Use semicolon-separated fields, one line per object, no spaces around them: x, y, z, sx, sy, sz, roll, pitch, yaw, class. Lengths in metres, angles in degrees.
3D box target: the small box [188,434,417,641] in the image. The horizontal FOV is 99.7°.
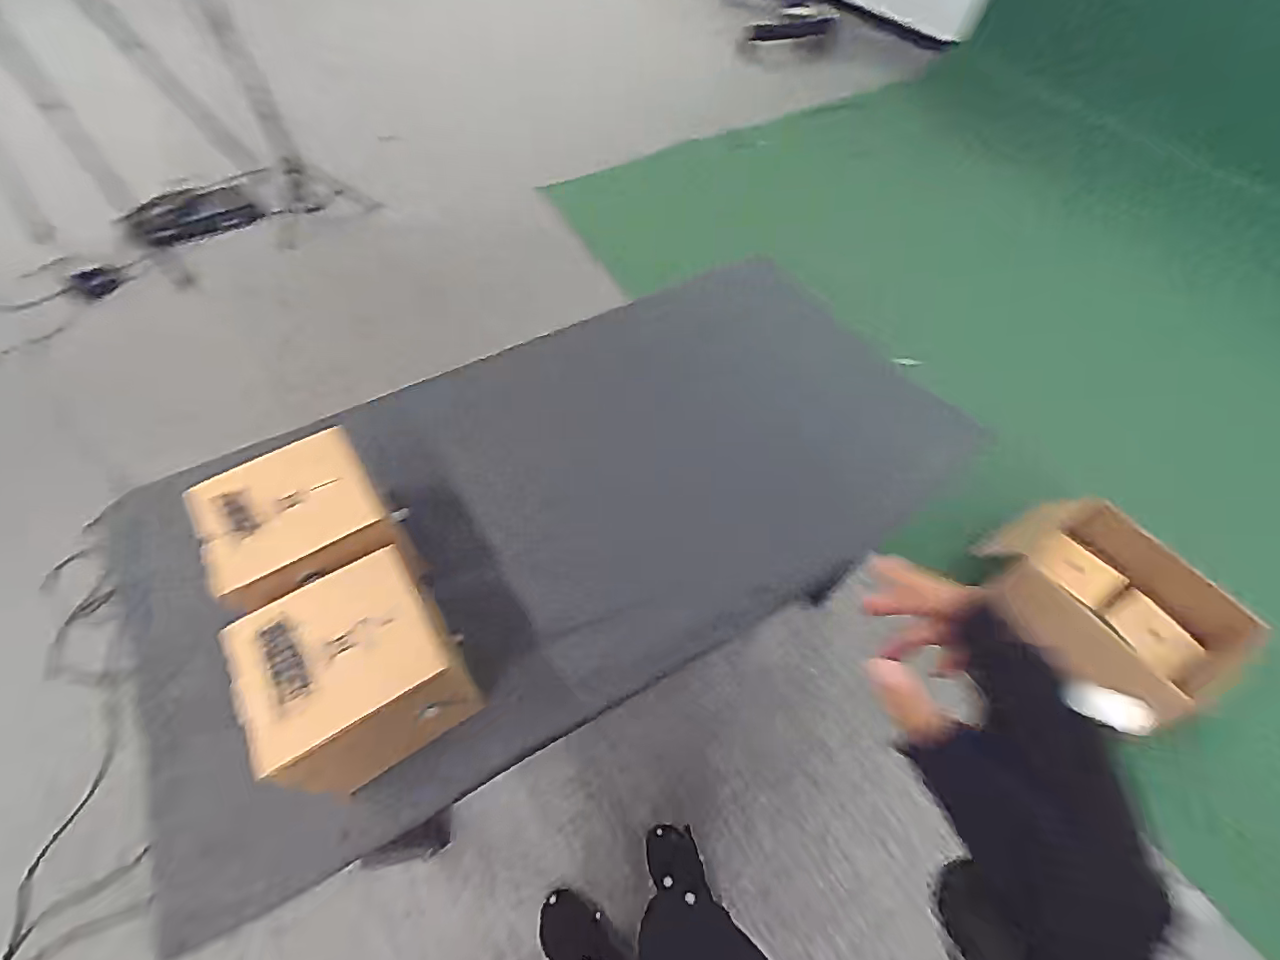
-0.422;0.079;0.699;0.179;0.176;0.168;-30;62;-20;small box
